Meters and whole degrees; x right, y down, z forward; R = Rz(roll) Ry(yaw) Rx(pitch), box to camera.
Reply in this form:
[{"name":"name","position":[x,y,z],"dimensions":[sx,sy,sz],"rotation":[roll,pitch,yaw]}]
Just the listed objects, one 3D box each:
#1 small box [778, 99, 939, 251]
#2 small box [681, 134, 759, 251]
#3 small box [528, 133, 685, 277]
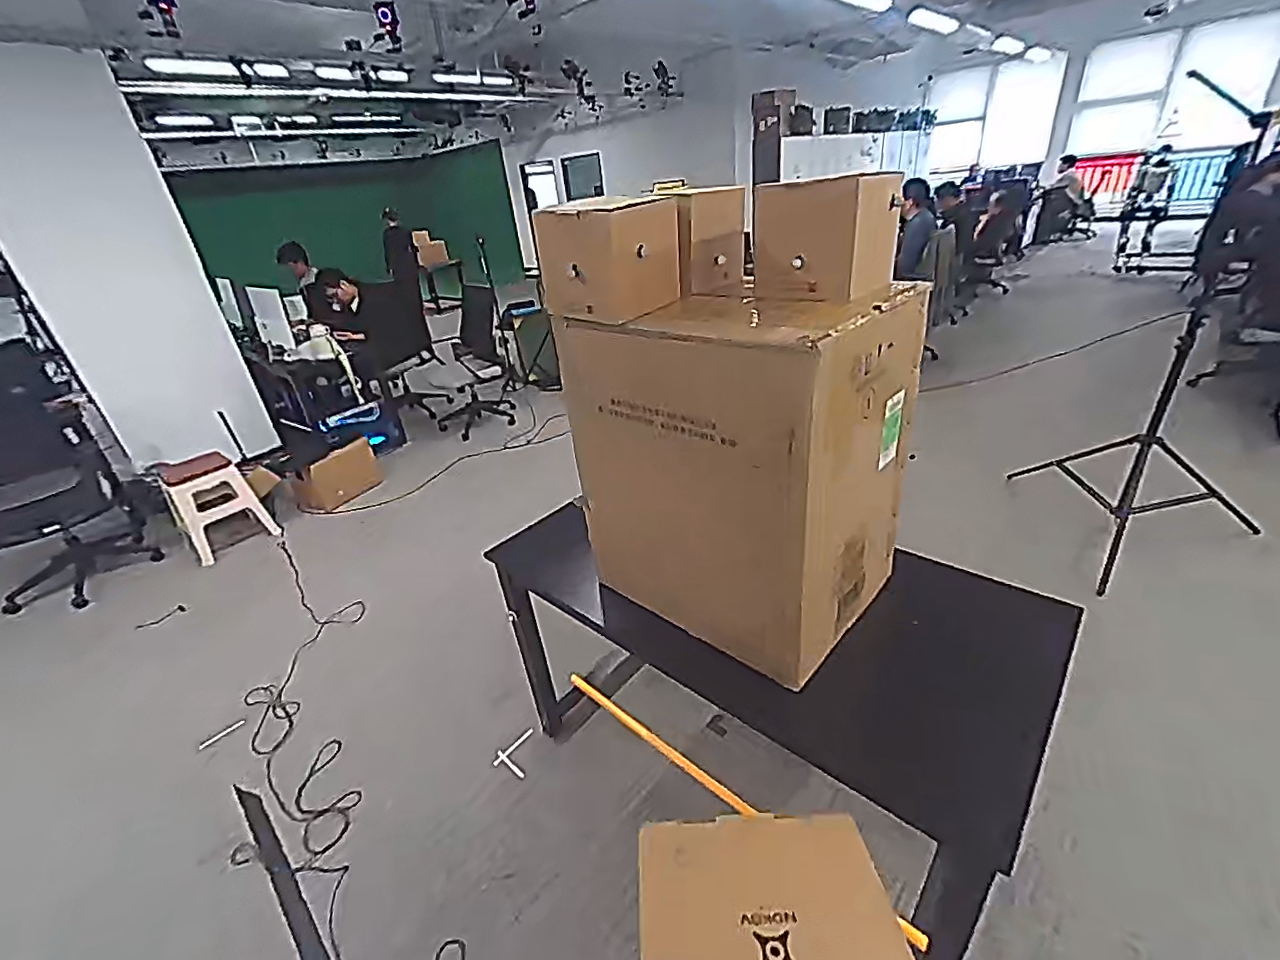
[{"name":"small box","position":[0.310,-0.435,0.789],"dimensions":[0.168,0.176,0.179],"rotation":[17,35,38]},{"name":"small box","position":[0.091,-0.506,0.960],"dimensions":[0.179,0.176,0.168],"rotation":[22,39,38]},{"name":"small box","position":[-0.040,-0.419,0.829],"dimensions":[0.168,0.176,0.179],"rotation":[19,41,33]}]
